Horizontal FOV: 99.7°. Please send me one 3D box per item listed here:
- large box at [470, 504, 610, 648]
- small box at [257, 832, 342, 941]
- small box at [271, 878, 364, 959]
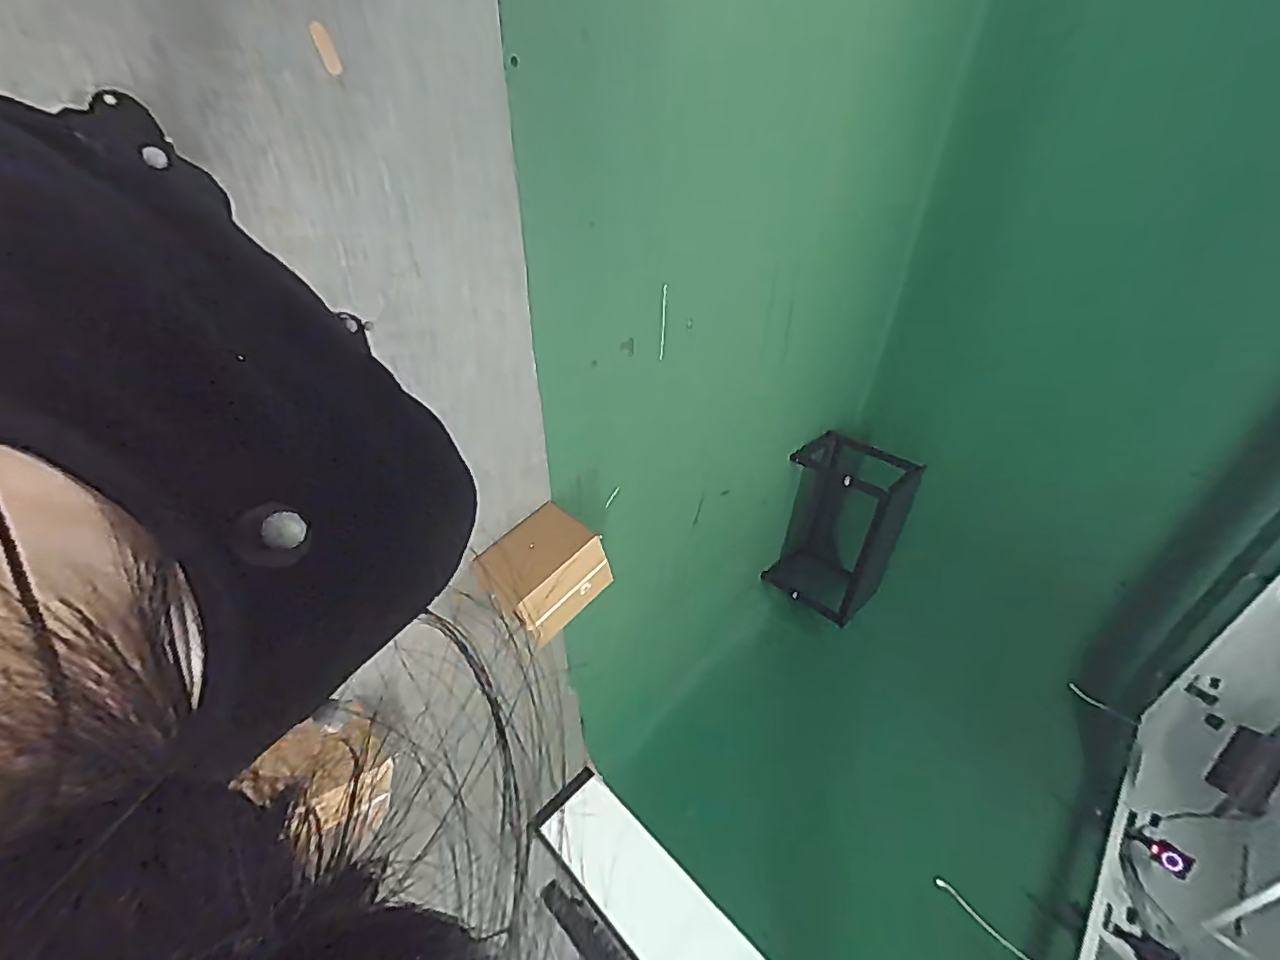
[{"bbox_3d":[-0.391,0.376,2.168,0.408,0.320,0.320,-42,142,-26],"label":"large box"},{"bbox_3d":[-0.989,1.179,1.567,0.168,0.176,0.179,-10,123,-48],"label":"small box"},{"bbox_3d":[-0.880,1.250,1.469,0.179,0.176,0.168,-9,122,-49],"label":"small box"}]
